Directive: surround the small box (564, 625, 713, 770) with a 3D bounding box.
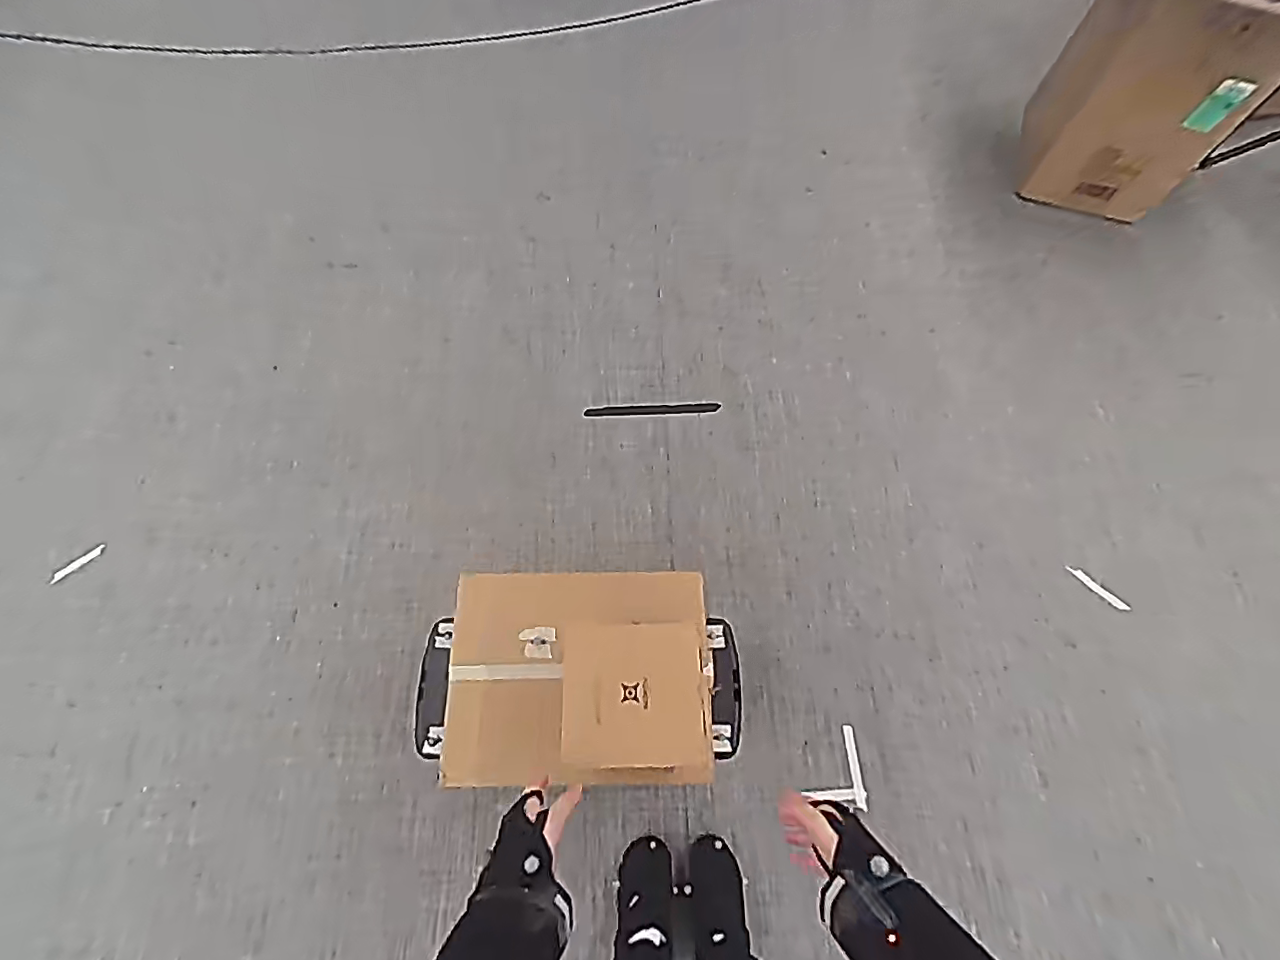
[{"bbox_3d":[-0.002,0.287,0.730,0.179,0.176,0.168,-1,69,0],"label":"small box"}]

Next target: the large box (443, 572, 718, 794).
[{"bbox_3d":[-0.087,0.356,0.967,0.408,0.320,0.320,-2,67,1],"label":"large box"}]

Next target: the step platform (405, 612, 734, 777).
[{"bbox_3d":[-0.140,0.463,1.181,0.684,0.204,0.286,4,68,3],"label":"step platform"}]
